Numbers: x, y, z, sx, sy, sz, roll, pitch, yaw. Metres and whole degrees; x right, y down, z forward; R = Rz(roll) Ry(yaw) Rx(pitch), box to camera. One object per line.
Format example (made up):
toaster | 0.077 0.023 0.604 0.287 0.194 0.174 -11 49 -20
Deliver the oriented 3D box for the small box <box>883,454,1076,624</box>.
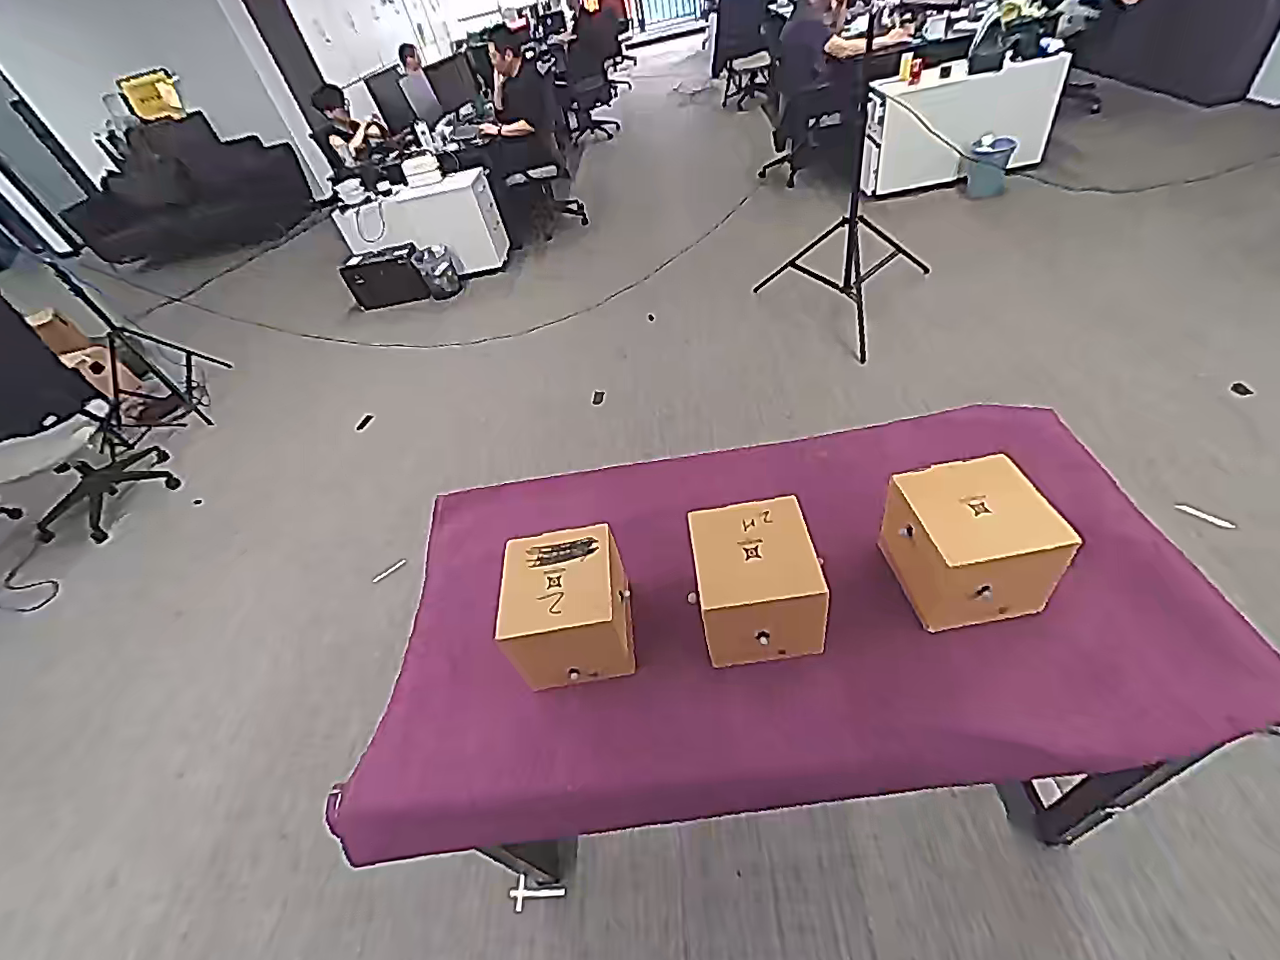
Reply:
small box | 0.477 0.093 0.794 0.168 0.176 0.179 -12 42 4

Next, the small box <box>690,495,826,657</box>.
small box | 0.174 0.152 0.817 0.168 0.176 0.179 -9 44 5
